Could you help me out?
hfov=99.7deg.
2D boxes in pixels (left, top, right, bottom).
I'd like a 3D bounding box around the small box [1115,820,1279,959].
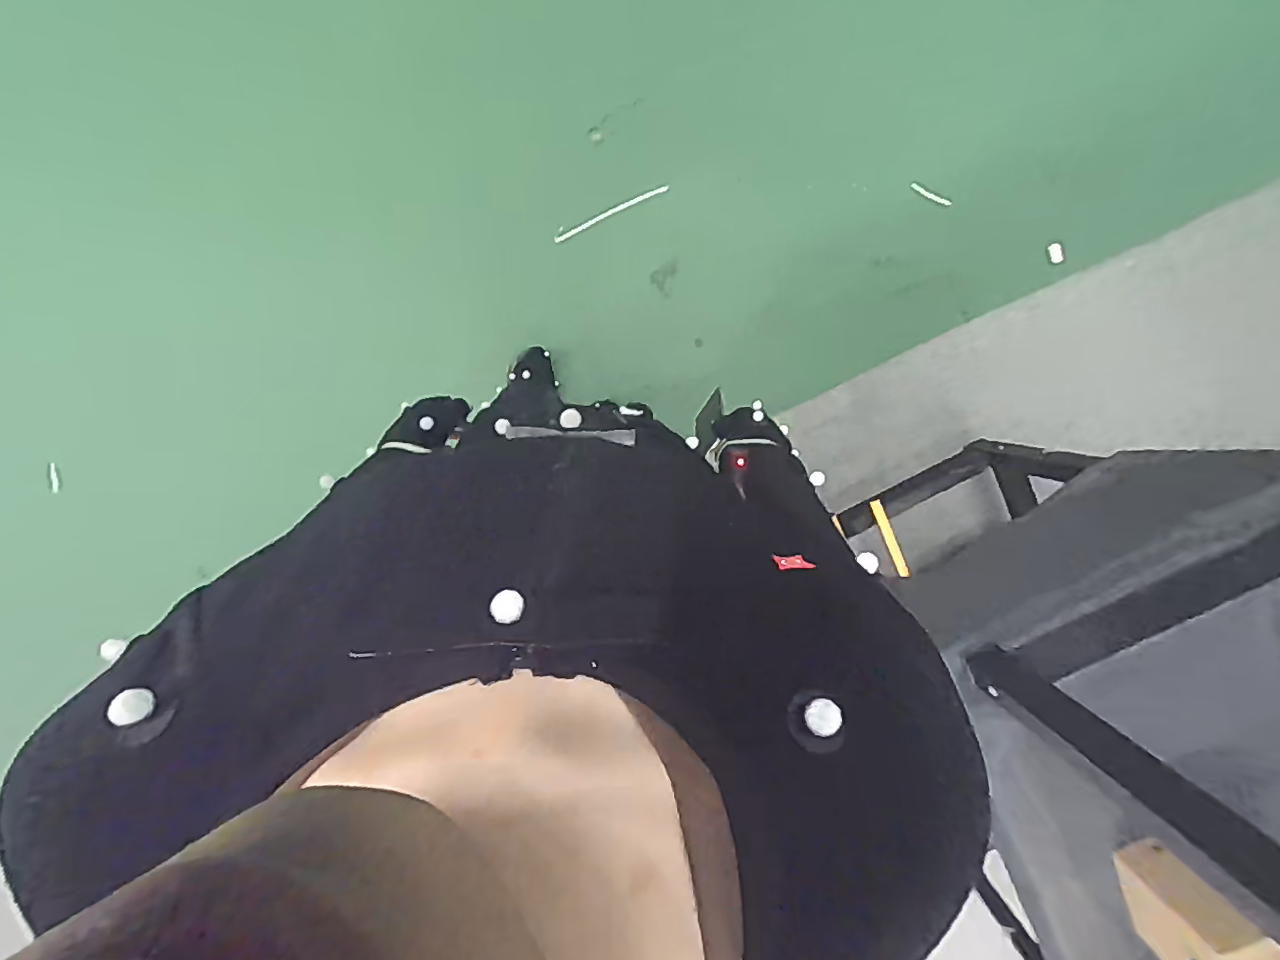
[{"bbox_3d":[0.876,0.655,0.815,0.168,0.176,0.179,-24,100,2],"label":"small box"}]
